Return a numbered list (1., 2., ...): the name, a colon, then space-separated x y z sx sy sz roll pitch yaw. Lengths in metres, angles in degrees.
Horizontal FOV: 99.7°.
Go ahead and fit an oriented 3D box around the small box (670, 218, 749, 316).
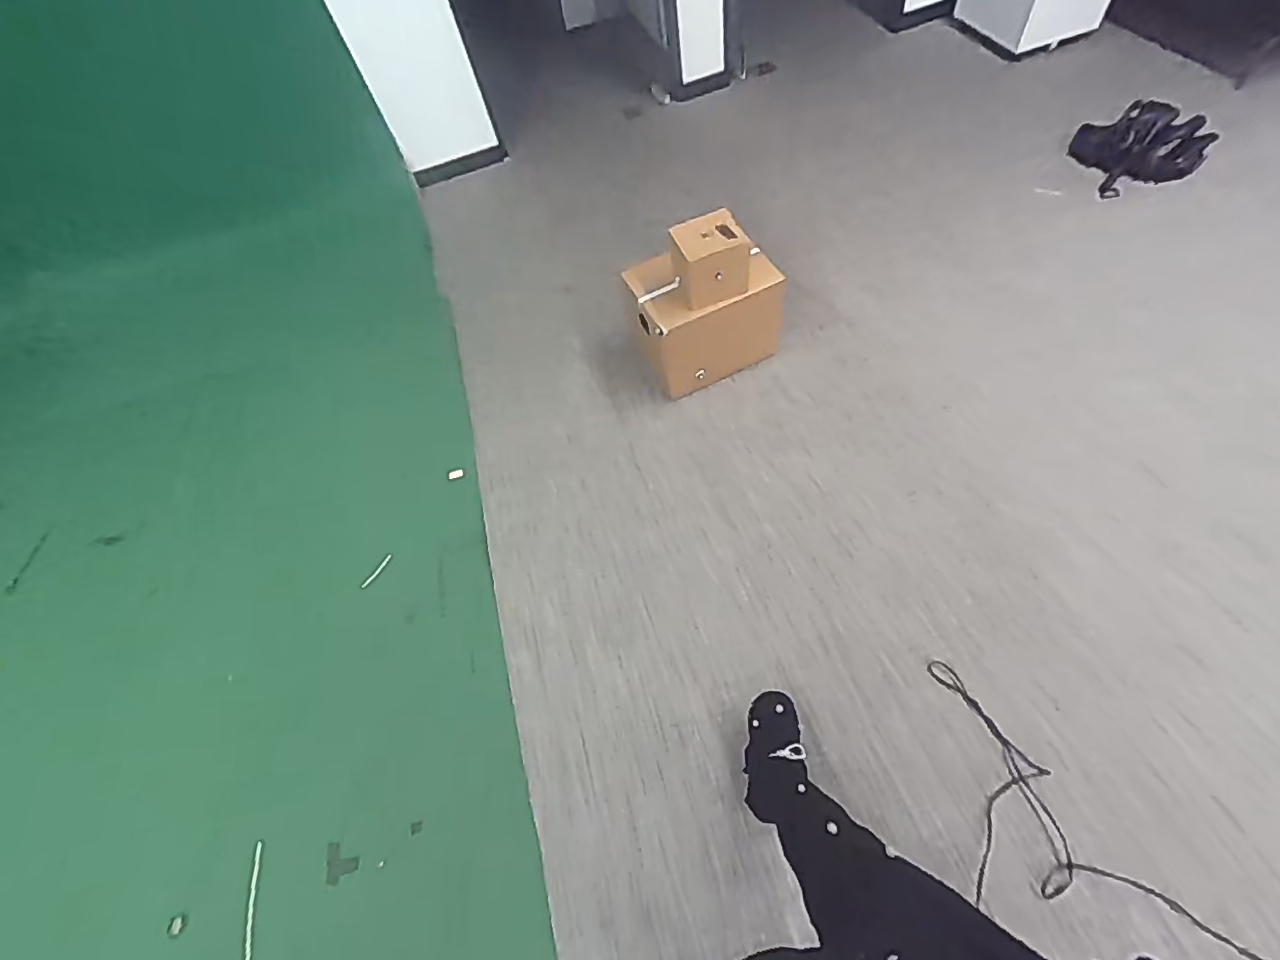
1. small box: 0.197 -0.602 1.539 0.179 0.176 0.168 -20 58 -2
